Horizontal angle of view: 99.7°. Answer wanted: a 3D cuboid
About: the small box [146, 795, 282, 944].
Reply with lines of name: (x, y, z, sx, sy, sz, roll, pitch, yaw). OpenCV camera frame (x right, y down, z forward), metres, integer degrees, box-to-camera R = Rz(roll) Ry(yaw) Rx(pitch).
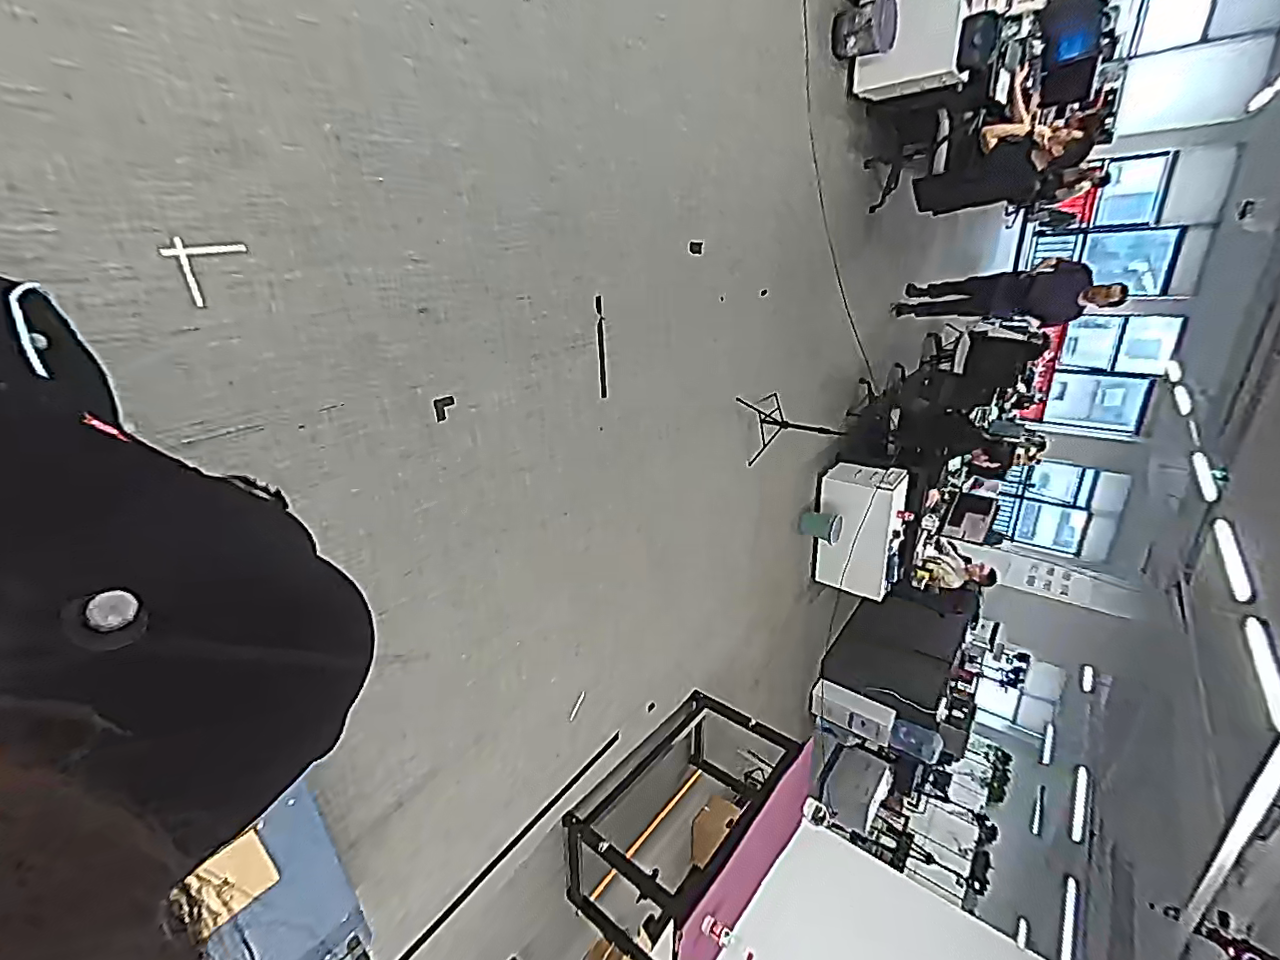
small box: (-0.919, 0.824, 1.167, 0.168, 0.176, 0.179, -30, 125, -44)
